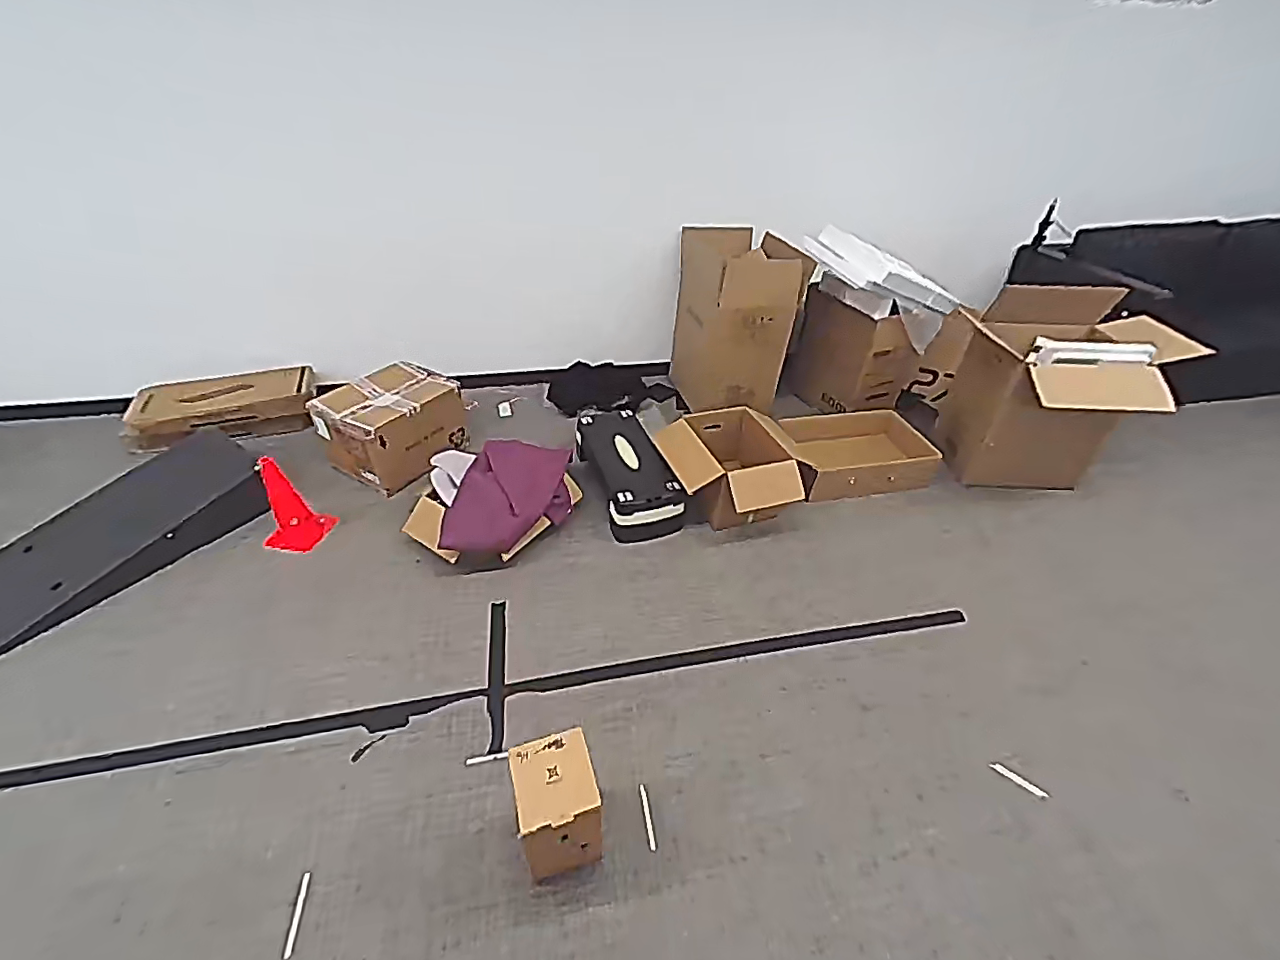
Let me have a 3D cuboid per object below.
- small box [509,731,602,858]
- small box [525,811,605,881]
[{"bbox_3d":[-0.182,0.686,1.172,0.168,0.176,0.179,-11,41,-16],"label":"small box"},{"bbox_3d":[-0.187,0.809,1.281,0.179,0.176,0.168,-10,40,-15],"label":"small box"}]
